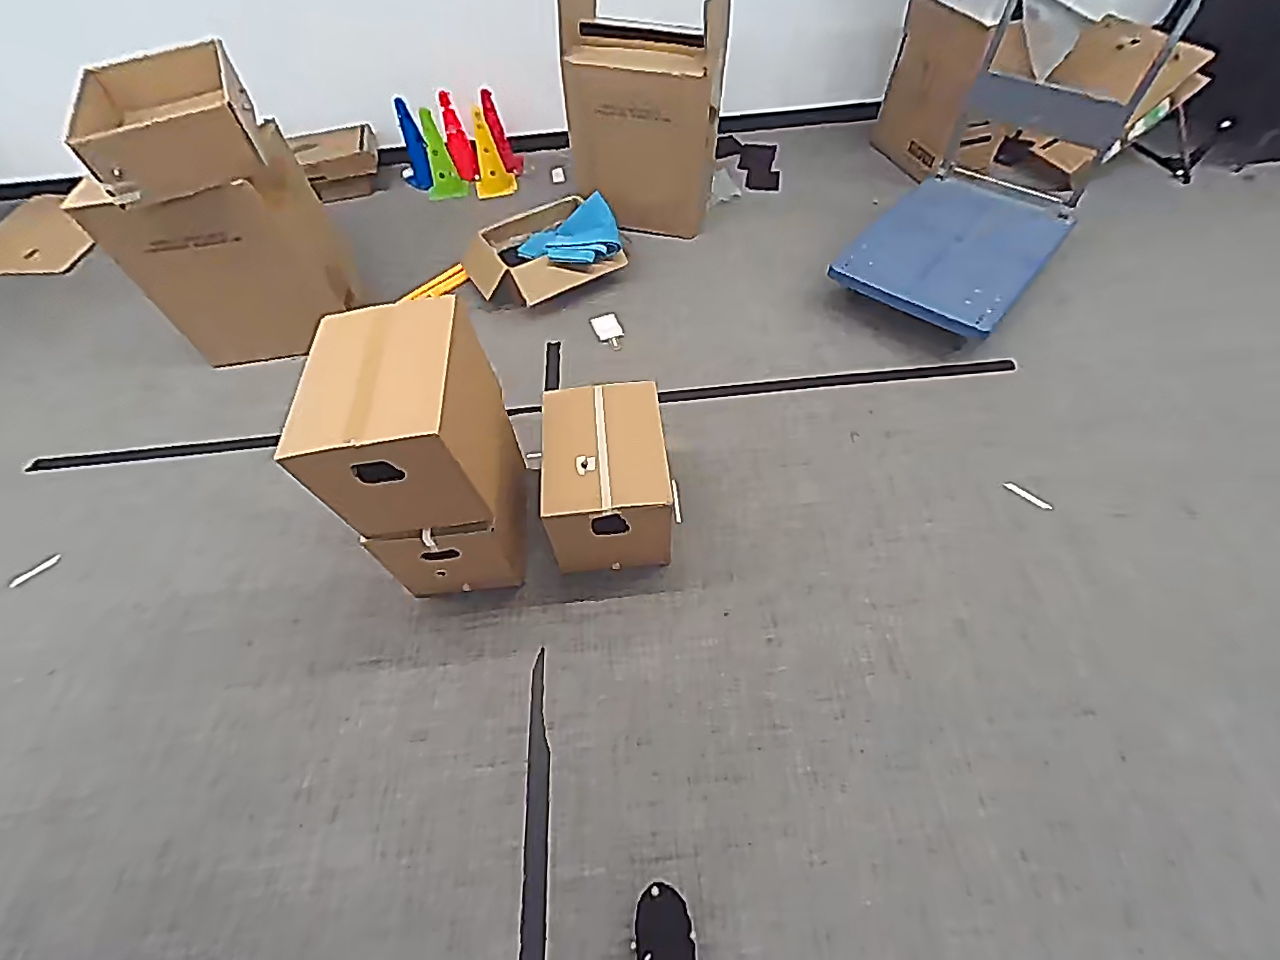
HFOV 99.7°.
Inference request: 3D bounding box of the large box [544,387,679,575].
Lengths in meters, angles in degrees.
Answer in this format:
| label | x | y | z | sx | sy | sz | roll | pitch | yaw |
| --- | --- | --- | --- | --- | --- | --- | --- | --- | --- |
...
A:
| label | x | y | z | sx | sy | sz | roll | pitch | yaw |
| --- | --- | --- | --- | --- | --- | --- | --- | --- | --- |
| large box | -0.079 | 0.004 | 1.486 | 0.320 | 0.320 | 0.408 | -7 | 56 | -1 |
